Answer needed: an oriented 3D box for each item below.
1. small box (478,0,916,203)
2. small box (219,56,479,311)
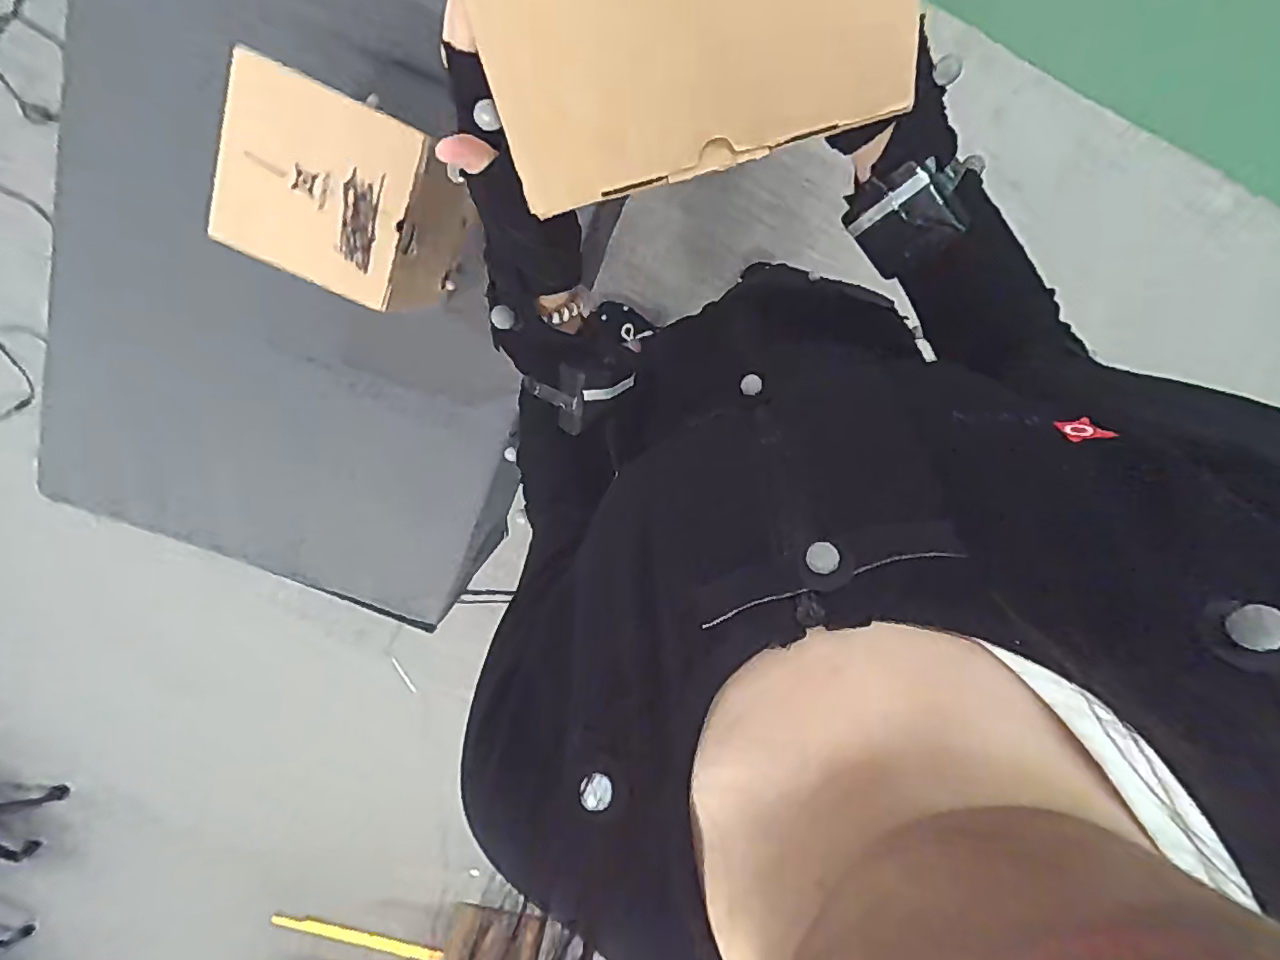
[{"bbox_3d":[0.009,-0.256,0.246,0.168,0.176,0.179,-13,129,6],"label":"small box"},{"bbox_3d":[-0.296,-0.299,0.583,0.179,0.176,0.168,23,109,-5],"label":"small box"}]
